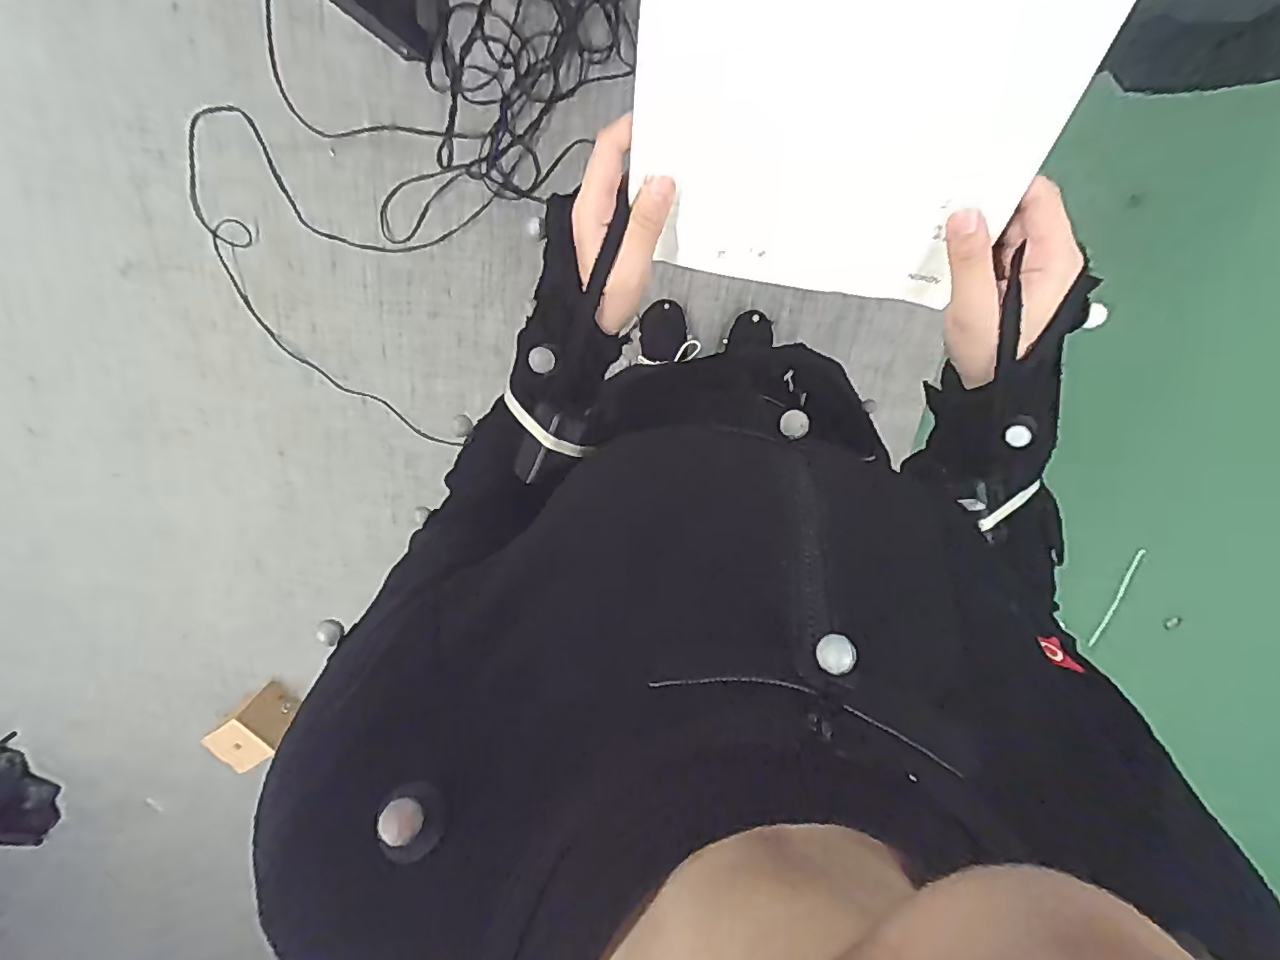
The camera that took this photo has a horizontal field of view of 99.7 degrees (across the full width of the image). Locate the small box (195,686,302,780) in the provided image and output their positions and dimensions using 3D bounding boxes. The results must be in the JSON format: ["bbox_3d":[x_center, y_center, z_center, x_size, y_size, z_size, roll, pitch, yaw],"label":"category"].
[{"bbox_3d":[-1.219,0.791,1.698,0.179,0.176,0.168,-34,107,14],"label":"small box"}]
